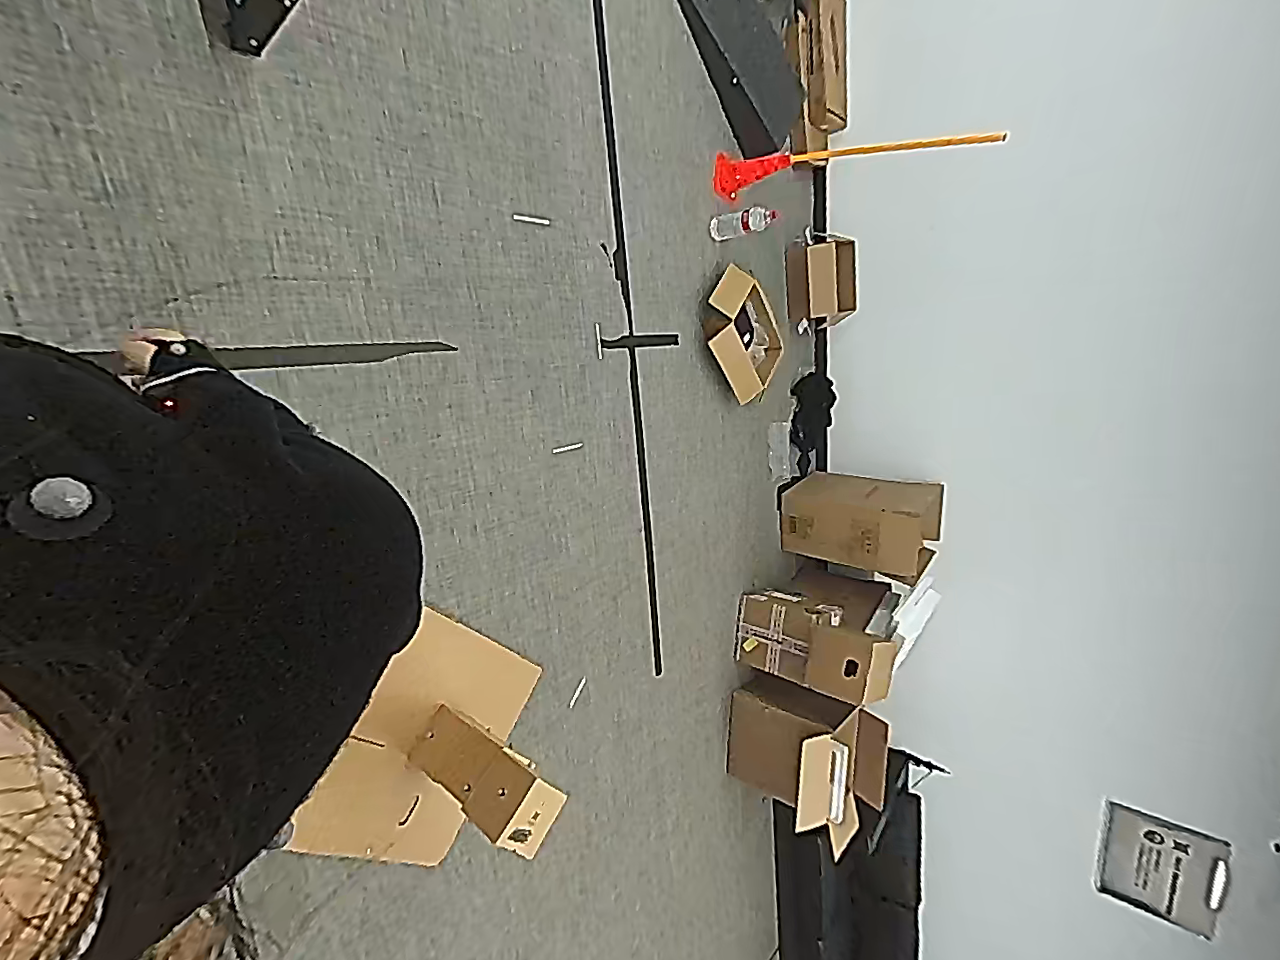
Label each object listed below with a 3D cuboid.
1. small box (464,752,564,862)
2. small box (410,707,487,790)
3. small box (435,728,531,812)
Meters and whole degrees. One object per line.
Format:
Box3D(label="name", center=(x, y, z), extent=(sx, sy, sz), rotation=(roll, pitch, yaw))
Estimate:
Box3D(label="small box", center=(-0.350, 0.886, 1.473), extent=(0.179, 0.176, 0.168), rotation=(-55, 134, -28))
Box3D(label="small box", center=(-0.589, 0.851, 1.695), extent=(0.179, 0.176, 0.168), rotation=(-58, 135, -24))
Box3D(label="small box", center=(-0.463, 0.866, 1.592), extent=(0.179, 0.176, 0.168), rotation=(-57, 134, -25))
